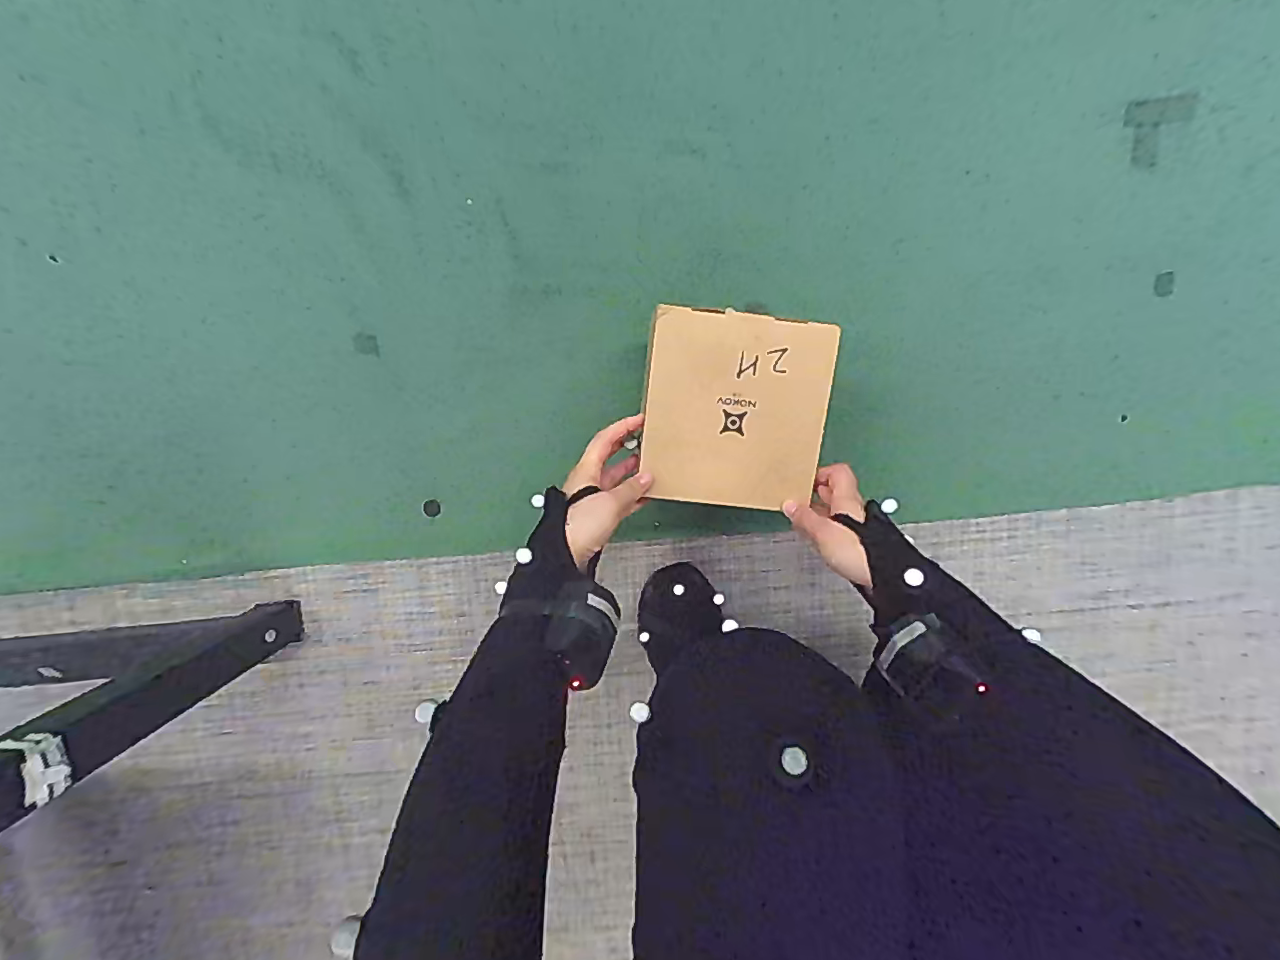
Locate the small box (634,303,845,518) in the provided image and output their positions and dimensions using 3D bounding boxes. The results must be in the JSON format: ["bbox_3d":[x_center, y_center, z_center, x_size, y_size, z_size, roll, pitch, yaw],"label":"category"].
[{"bbox_3d":[0.085,-0.074,0.560,0.168,0.176,0.179,7,101,-4],"label":"small box"}]
